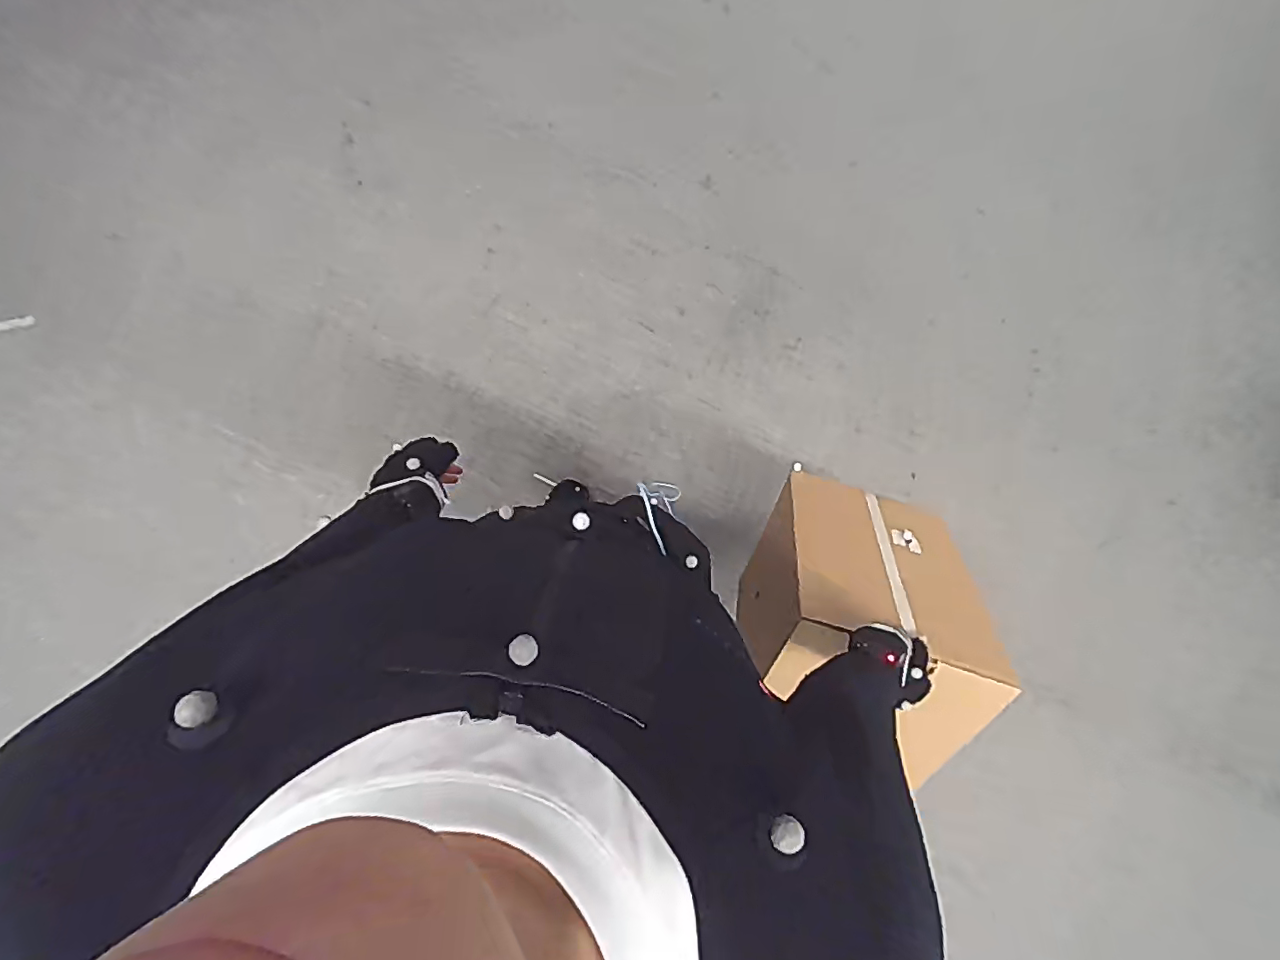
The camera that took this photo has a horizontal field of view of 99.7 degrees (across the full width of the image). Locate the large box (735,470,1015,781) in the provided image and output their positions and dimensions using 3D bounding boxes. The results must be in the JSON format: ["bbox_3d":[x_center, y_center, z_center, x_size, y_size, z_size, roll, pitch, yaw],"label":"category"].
[{"bbox_3d":[0.372,0.245,0.987,0.320,0.408,0.320,18,123,2],"label":"large box"}]
